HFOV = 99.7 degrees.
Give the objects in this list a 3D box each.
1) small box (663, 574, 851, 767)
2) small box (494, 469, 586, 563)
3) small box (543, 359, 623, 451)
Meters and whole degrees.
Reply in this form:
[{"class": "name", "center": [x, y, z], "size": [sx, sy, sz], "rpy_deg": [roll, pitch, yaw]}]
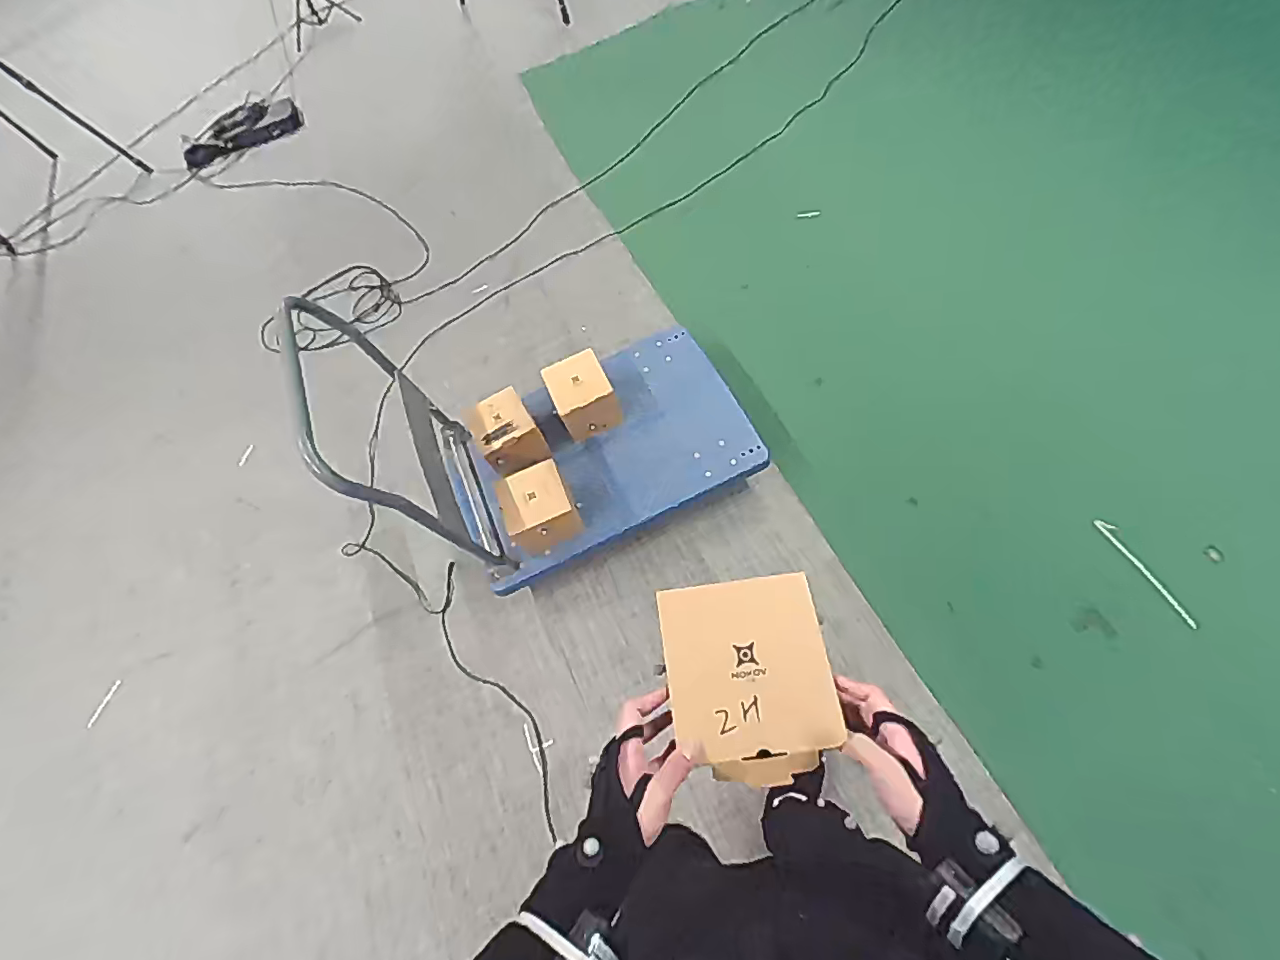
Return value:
[{"class": "small box", "center": [0.118, 0.225, 0.625], "size": [0.168, 0.176, 0.179], "rpy_deg": [-9, 64, 1]}, {"class": "small box", "center": [-0.265, 0.103, 1.462], "size": [0.179, 0.176, 0.168], "rpy_deg": [-23, 63, -3]}, {"class": "small box", "center": [-0.165, -0.219, 1.606], "size": [0.168, 0.176, 0.179], "rpy_deg": [-26, 64, -4]}]
